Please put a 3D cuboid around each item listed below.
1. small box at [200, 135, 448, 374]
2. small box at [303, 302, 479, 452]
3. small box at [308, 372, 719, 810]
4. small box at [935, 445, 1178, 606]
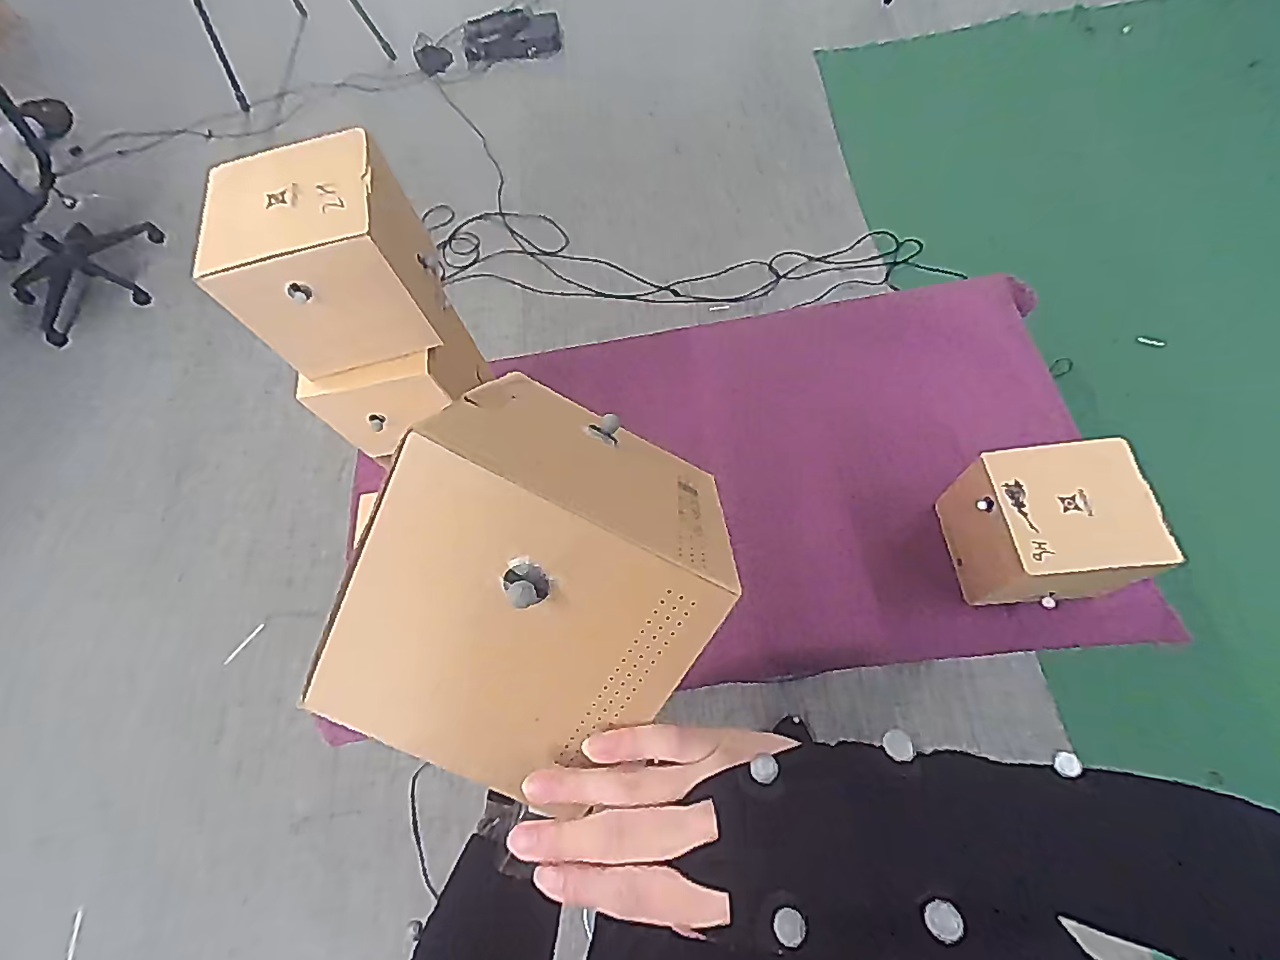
[{"bbox_3d":[-0.342,-0.245,0.618,0.179,0.176,0.168,-14,65,0],"label":"small box"},{"bbox_3d":[-0.332,-0.153,0.756,0.168,0.176,0.179,-11,65,2],"label":"small box"},{"bbox_3d":[-0.060,0.059,0.342,0.176,0.168,0.179,28,109,-6],"label":"small box"},{"bbox_3d":[0.538,0.069,0.730,0.179,0.176,0.168,-5,64,5],"label":"small box"}]
